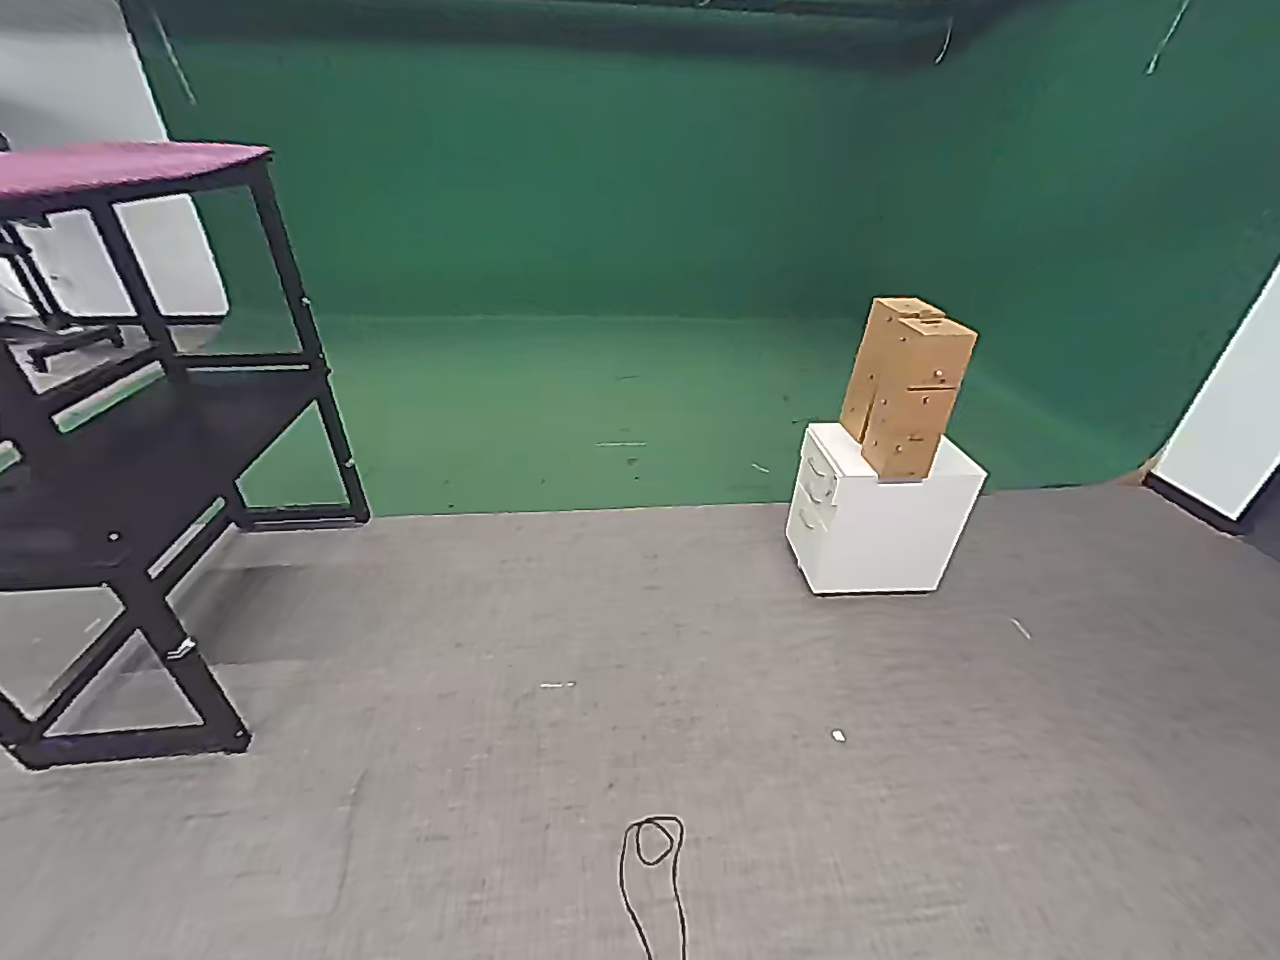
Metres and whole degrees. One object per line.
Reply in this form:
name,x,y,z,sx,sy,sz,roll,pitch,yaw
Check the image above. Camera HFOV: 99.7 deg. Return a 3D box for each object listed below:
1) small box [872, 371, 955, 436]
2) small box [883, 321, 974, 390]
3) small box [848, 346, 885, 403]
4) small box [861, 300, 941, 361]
small box,0.885,-0.252,1.773,0.179,0.176,0.168,-1,32,-4
small box,0.886,-0.389,1.681,0.168,0.176,0.179,-2,32,-5
small box,0.895,-0.384,1.984,0.168,0.176,0.179,-3,34,-10
small box,0.906,-0.521,1.896,0.168,0.176,0.179,-3,35,-9
